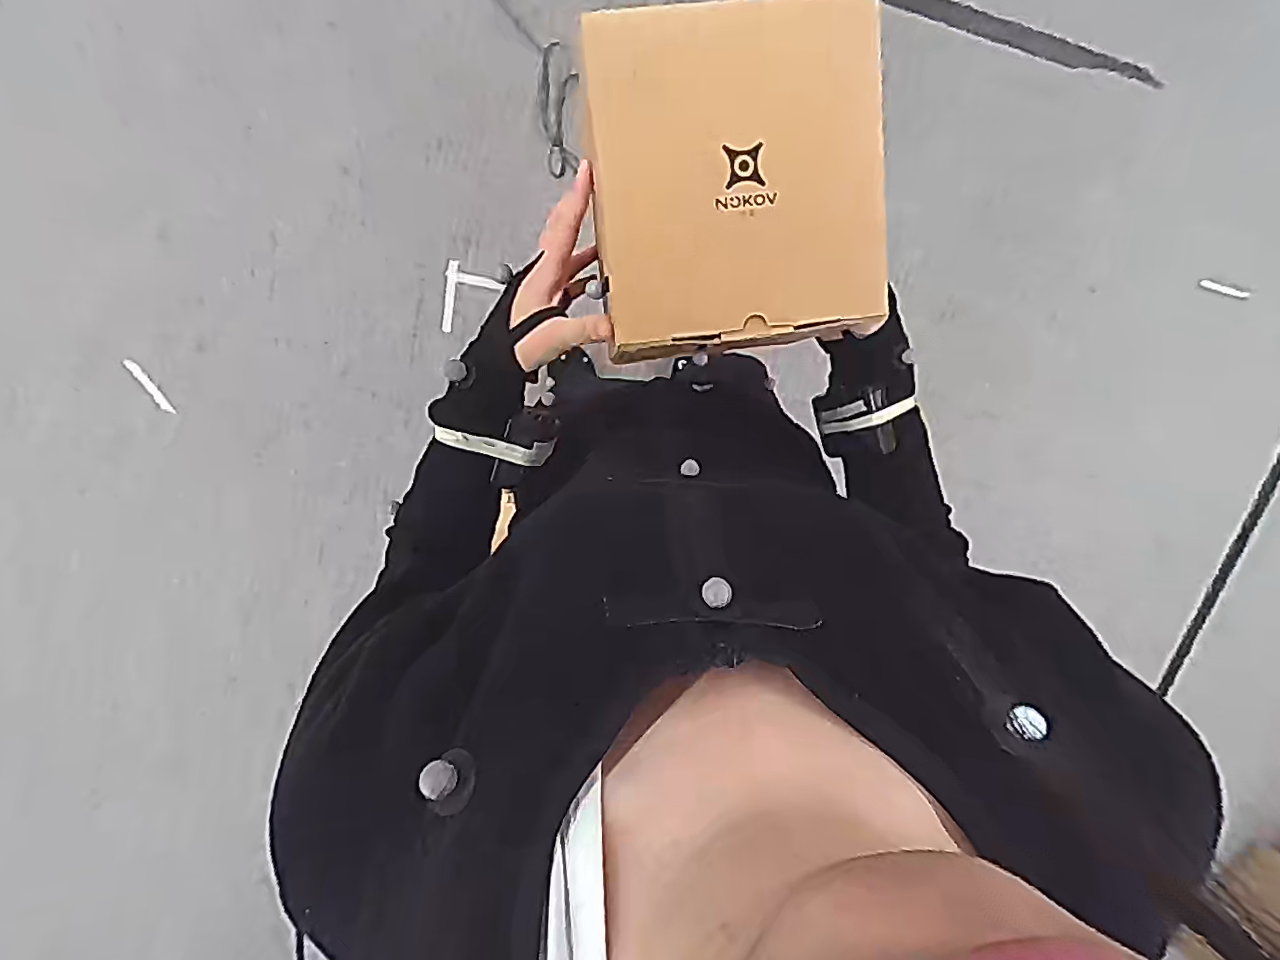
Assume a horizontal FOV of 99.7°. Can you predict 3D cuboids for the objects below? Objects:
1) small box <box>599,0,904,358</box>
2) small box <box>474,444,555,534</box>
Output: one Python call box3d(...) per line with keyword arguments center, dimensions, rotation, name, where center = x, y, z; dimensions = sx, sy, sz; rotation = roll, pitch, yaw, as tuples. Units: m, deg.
box3d(center=(0.061, -0.187, 0.383), dimensions=(0.168, 0.176, 0.179), rotation=(-7, 100, -3), name="small box")
box3d(center=(-0.315, 0.019, 1.390), dimensions=(0.168, 0.176, 0.179), rotation=(11, 102, -7), name="small box")
